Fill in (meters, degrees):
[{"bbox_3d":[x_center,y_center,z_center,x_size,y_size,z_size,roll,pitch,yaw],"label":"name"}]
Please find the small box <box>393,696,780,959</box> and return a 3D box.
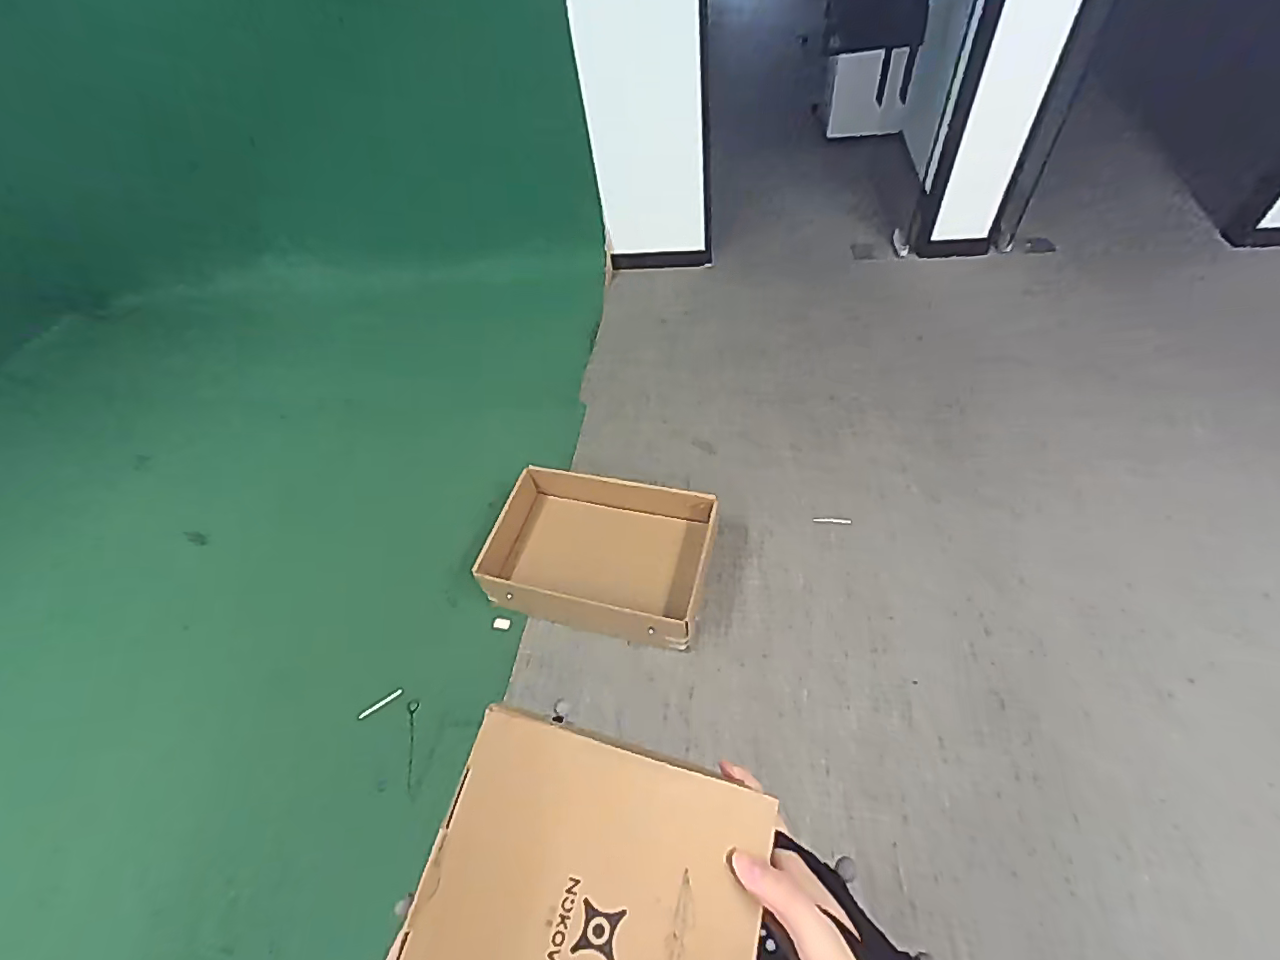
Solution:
[{"bbox_3d":[-0.039,0.254,0.349,0.179,0.176,0.168,22,65,-5],"label":"small box"}]
